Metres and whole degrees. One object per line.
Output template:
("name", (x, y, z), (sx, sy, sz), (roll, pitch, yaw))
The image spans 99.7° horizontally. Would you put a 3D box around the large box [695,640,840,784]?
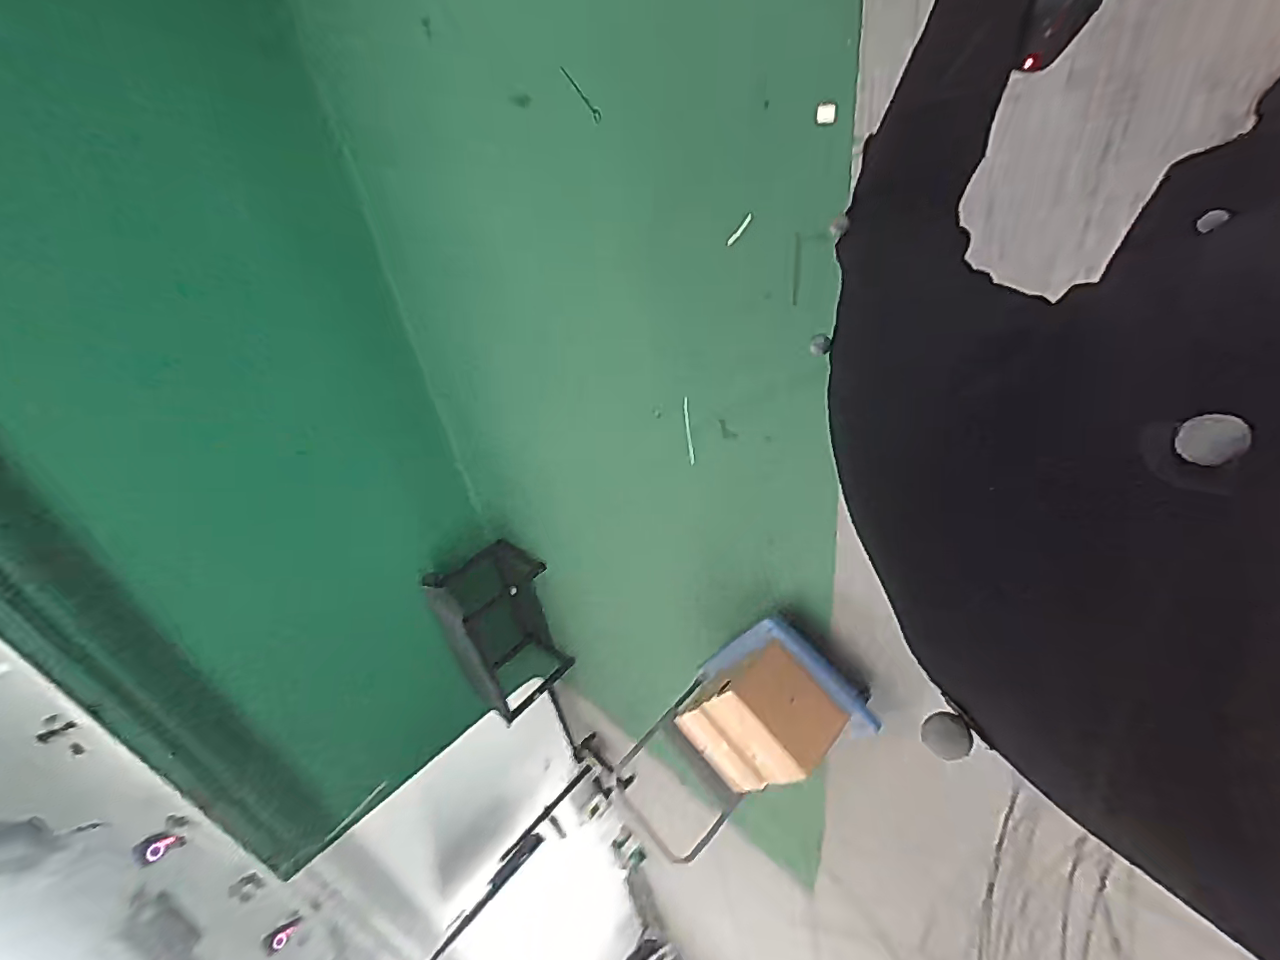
("large box", (0.506, 0.931, 2.178), (0.408, 0.320, 0.320), (47, 146, 12))
